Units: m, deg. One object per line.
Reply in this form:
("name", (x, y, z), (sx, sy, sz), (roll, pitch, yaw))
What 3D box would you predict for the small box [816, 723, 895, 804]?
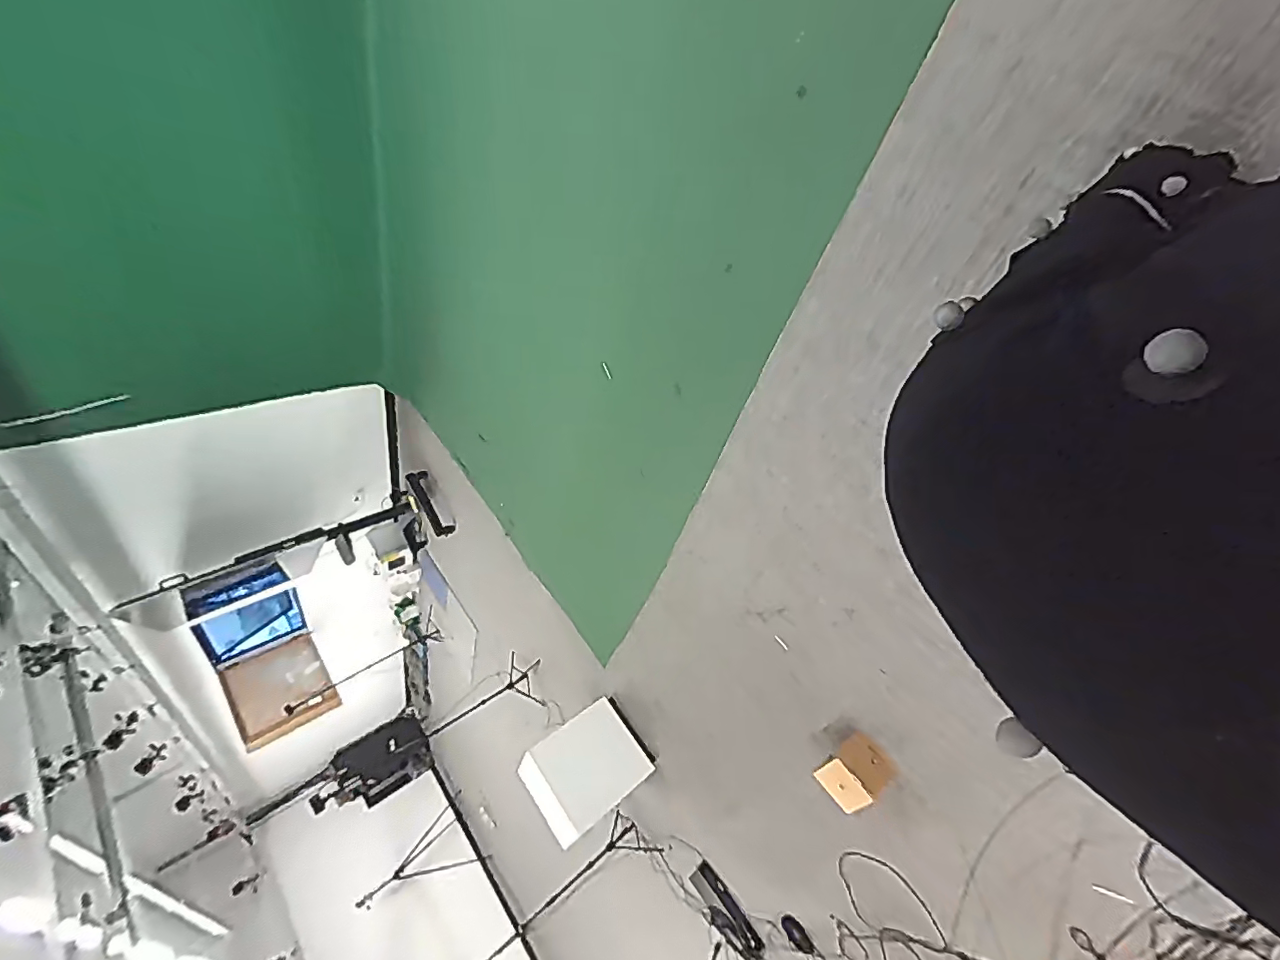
("small box", (0.772, 1.010, 1.931), (0.168, 0.176, 0.179), (47, 138, 25))
